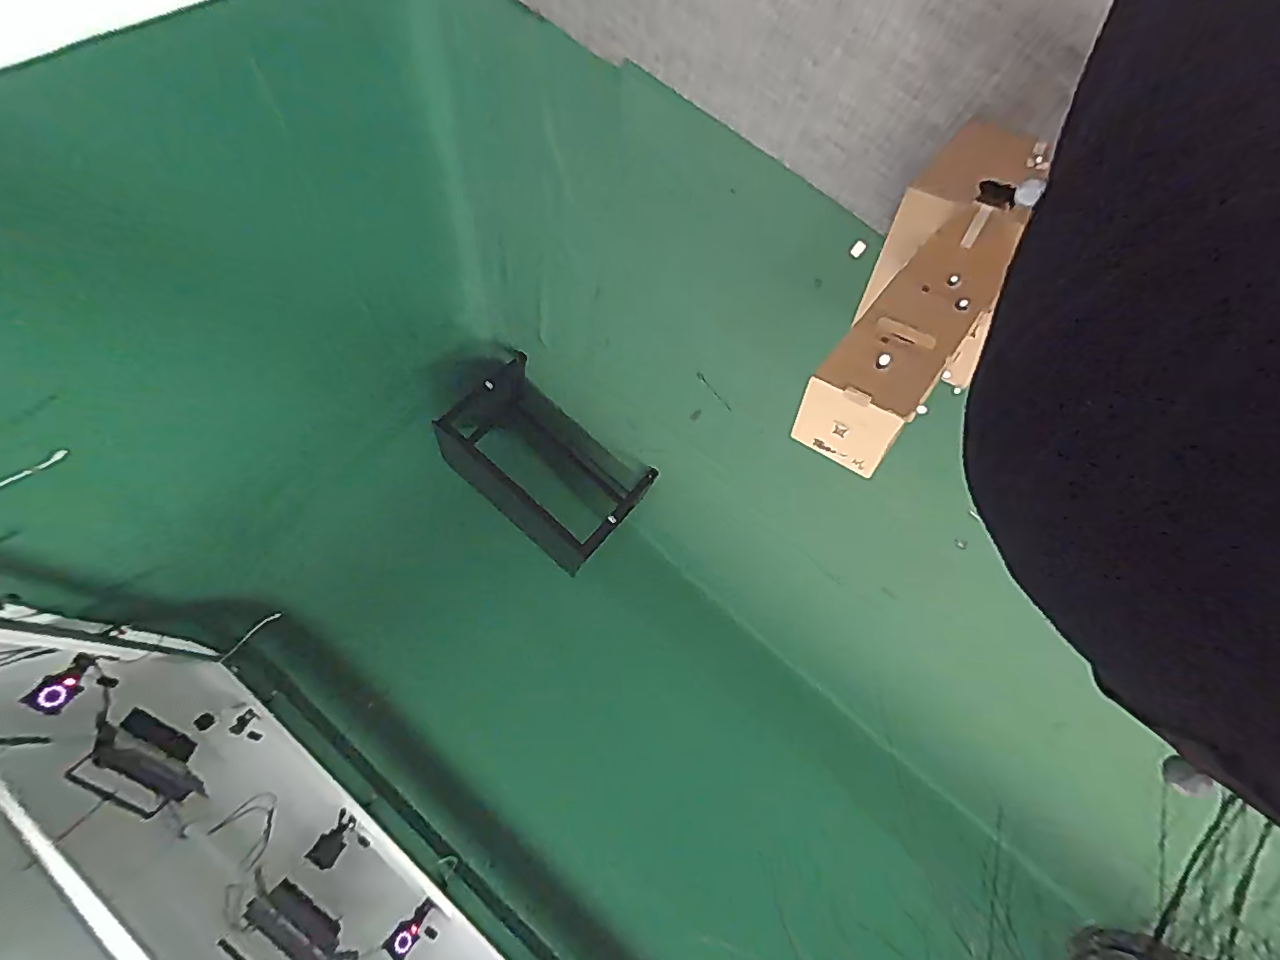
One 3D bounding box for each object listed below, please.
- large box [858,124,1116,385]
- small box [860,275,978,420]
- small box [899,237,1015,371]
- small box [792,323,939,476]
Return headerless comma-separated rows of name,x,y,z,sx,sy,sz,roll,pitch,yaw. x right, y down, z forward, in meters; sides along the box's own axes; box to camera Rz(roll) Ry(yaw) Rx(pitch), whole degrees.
large box,0.759,-0.509,1.239,0.320,0.320,0.408,35,156,22
small box,0.509,-0.257,1.033,0.168,0.176,0.179,33,154,21
small box,0.614,-0.362,1.101,0.179,0.176,0.168,34,154,20
small box,0.404,-0.147,0.970,0.168,0.176,0.179,34,153,21
